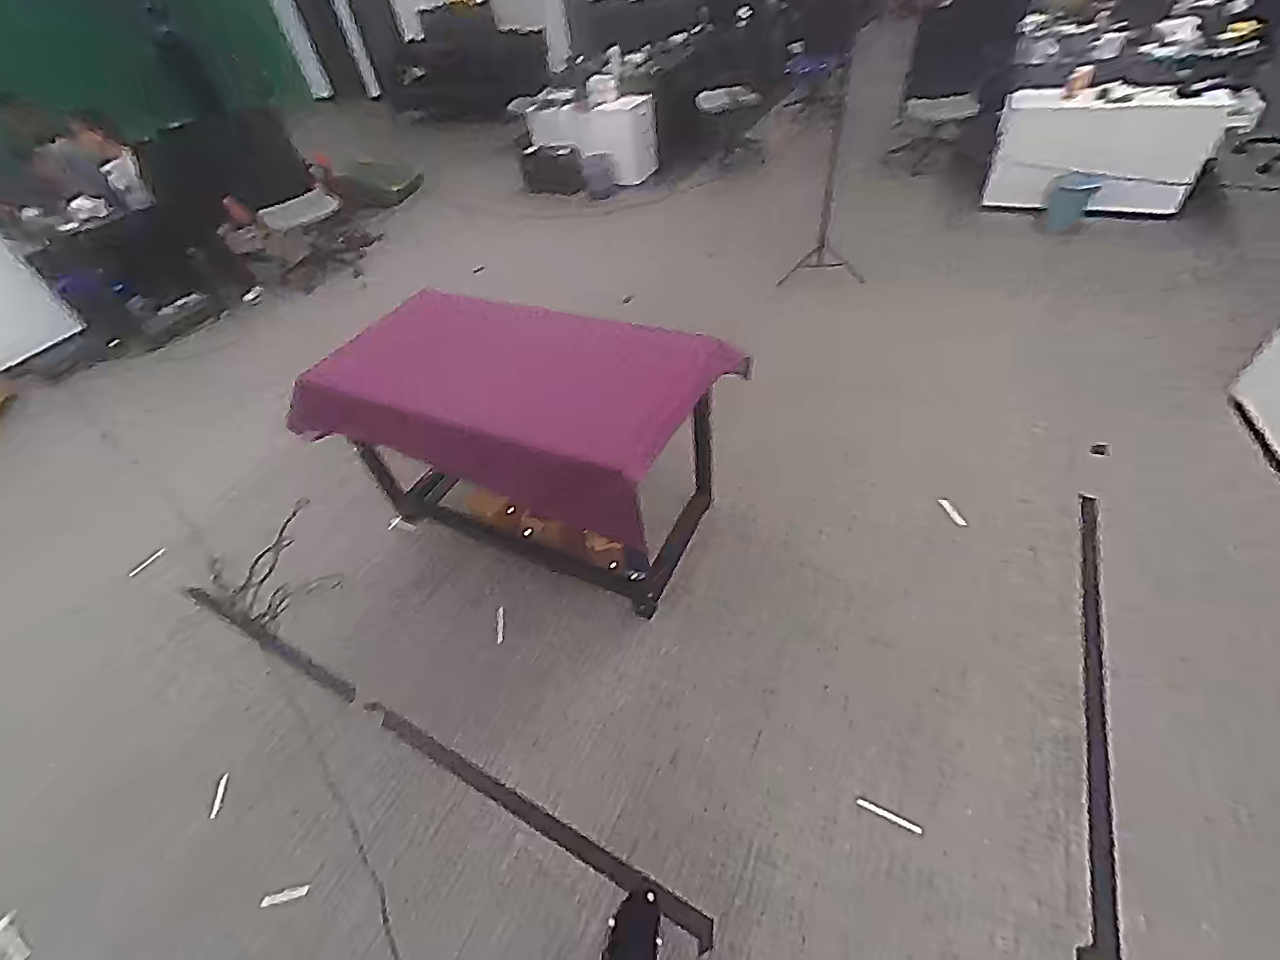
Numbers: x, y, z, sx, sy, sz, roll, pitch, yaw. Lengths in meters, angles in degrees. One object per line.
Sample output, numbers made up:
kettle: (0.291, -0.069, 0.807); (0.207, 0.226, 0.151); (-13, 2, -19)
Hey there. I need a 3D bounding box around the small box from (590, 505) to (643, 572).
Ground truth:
small box: (-0.081, 0.213, 1.963); (0.168, 0.176, 0.179); (-6, 45, 5)
